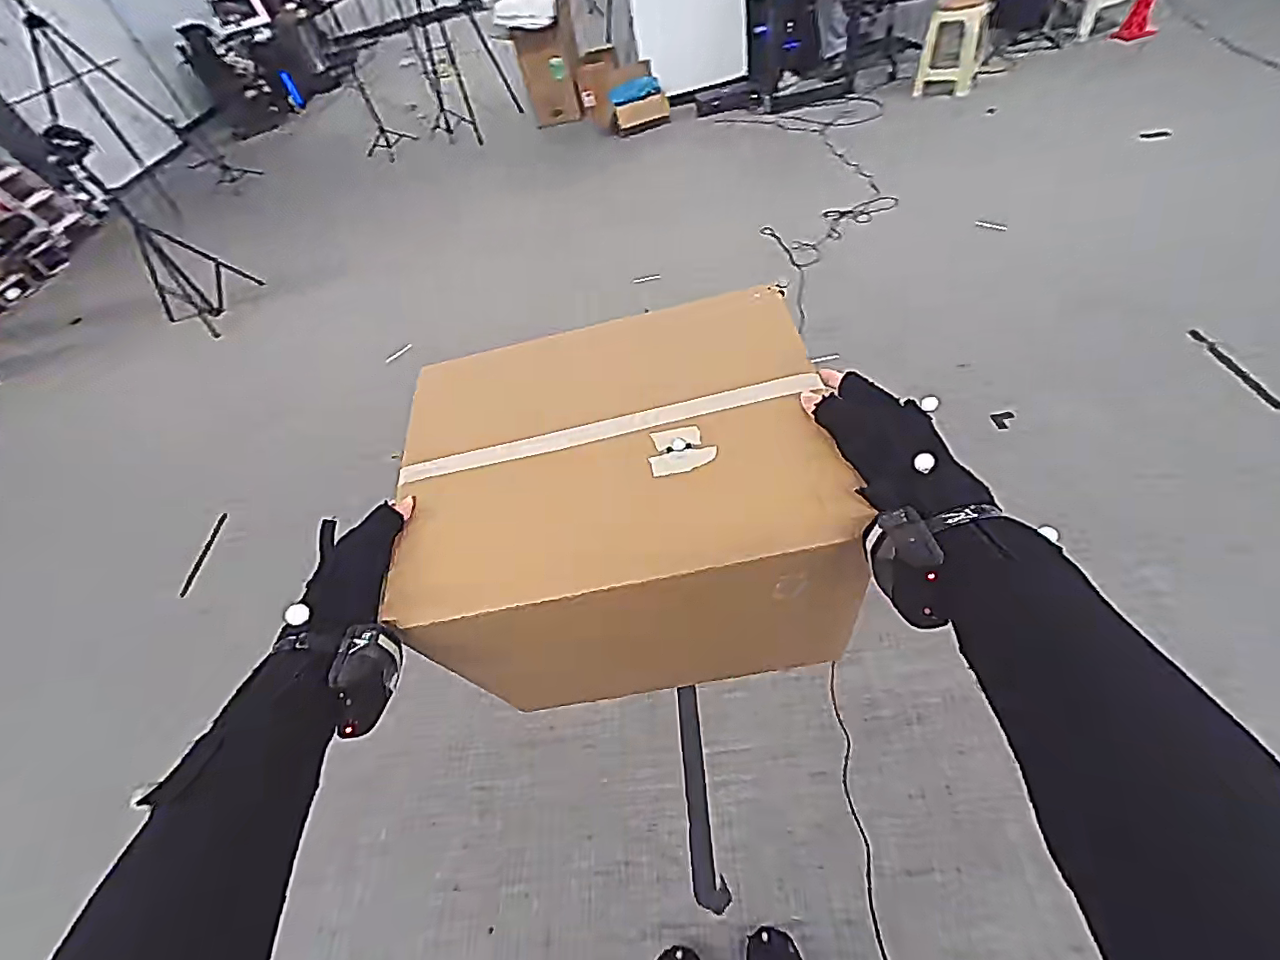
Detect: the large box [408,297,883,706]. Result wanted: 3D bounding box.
[{"bbox_3d":[0.007,0.044,0.641,0.408,0.320,0.320,-11,54,5],"label":"large box"}]
